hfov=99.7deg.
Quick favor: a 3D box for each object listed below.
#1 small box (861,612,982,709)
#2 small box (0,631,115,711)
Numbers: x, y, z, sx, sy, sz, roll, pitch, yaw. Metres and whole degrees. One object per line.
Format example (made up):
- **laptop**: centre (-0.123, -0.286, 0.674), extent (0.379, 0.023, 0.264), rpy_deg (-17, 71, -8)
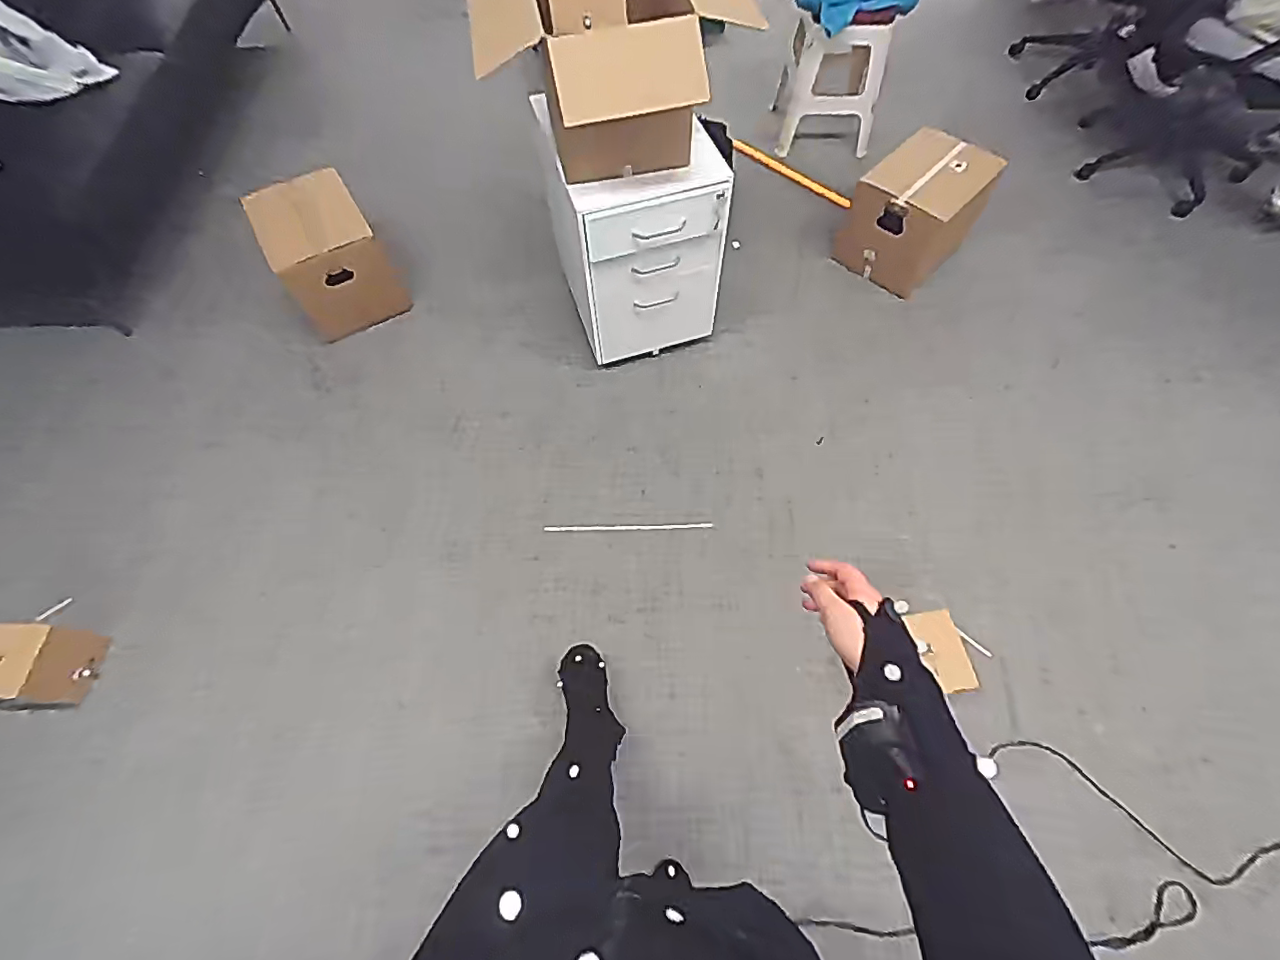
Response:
- **small box**: centre (0.644, 0.426, 1.265), extent (0.168, 0.176, 0.179), rpy_deg (-8, 63, -3)
- **small box**: centre (-1.464, 0.468, 1.316), extent (0.179, 0.176, 0.168), rpy_deg (0, 63, 0)
